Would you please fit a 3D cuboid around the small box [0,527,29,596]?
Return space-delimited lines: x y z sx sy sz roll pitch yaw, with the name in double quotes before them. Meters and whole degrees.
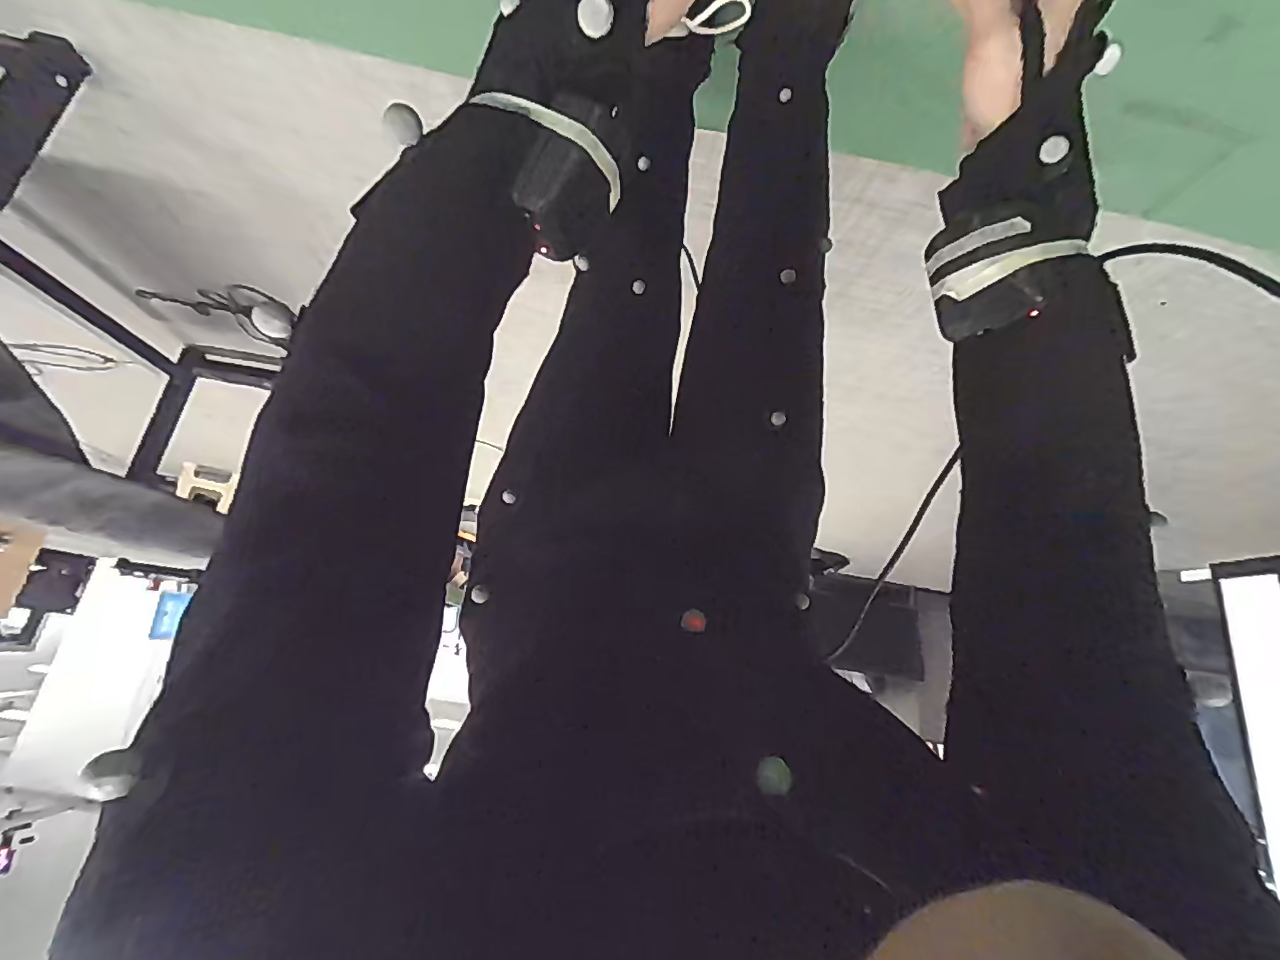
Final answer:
"small box" -1.180 0.140 0.876 0.179 0.176 0.168 7 164 2
